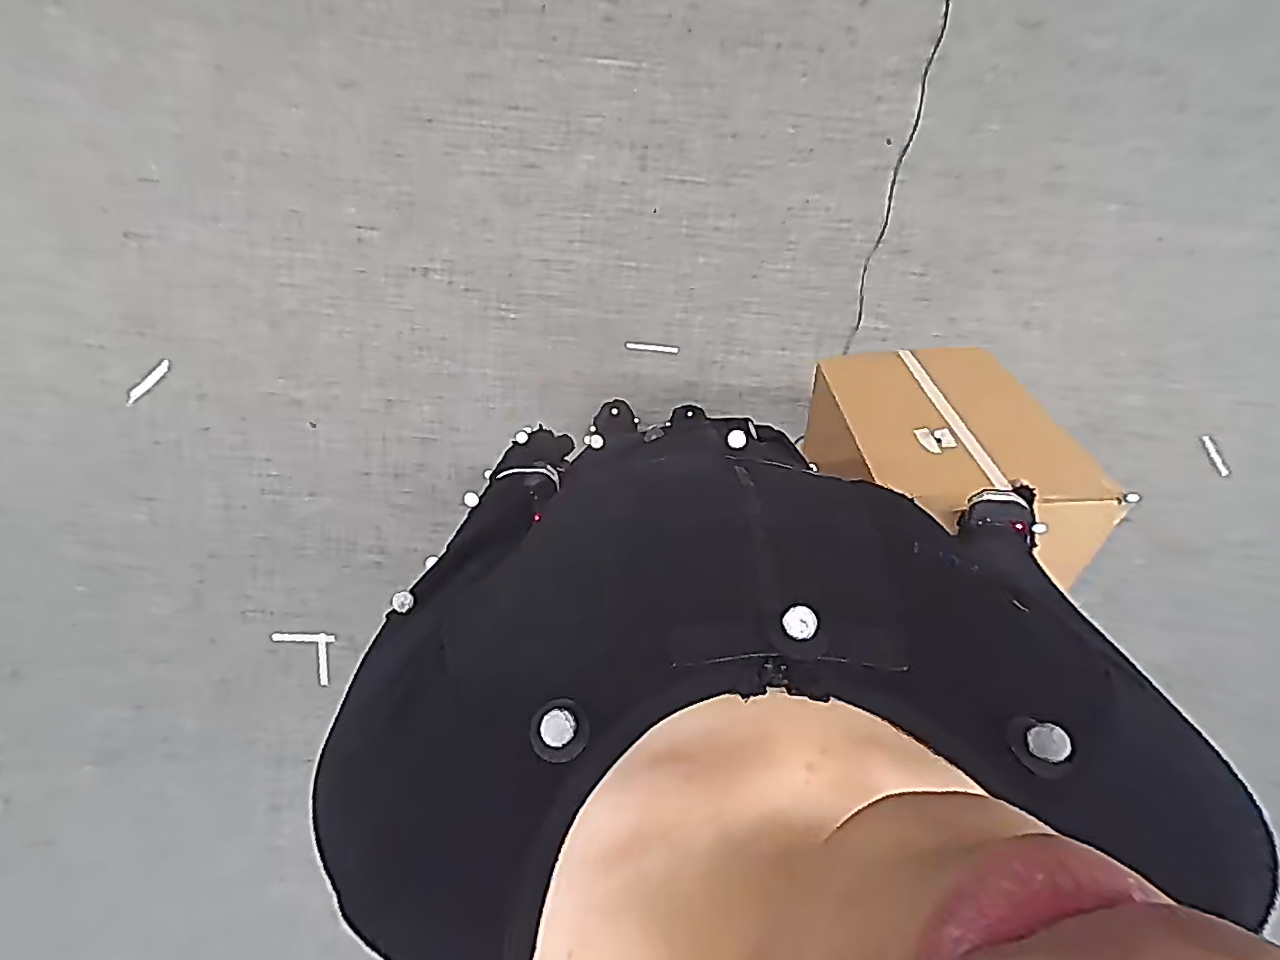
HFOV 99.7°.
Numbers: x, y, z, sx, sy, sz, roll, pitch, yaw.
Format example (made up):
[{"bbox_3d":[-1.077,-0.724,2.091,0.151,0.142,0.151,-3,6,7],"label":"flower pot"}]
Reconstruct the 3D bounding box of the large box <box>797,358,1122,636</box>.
[{"bbox_3d":[0.499,0.021,0.971,0.320,0.408,0.320,-3,133,3],"label":"large box"}]
